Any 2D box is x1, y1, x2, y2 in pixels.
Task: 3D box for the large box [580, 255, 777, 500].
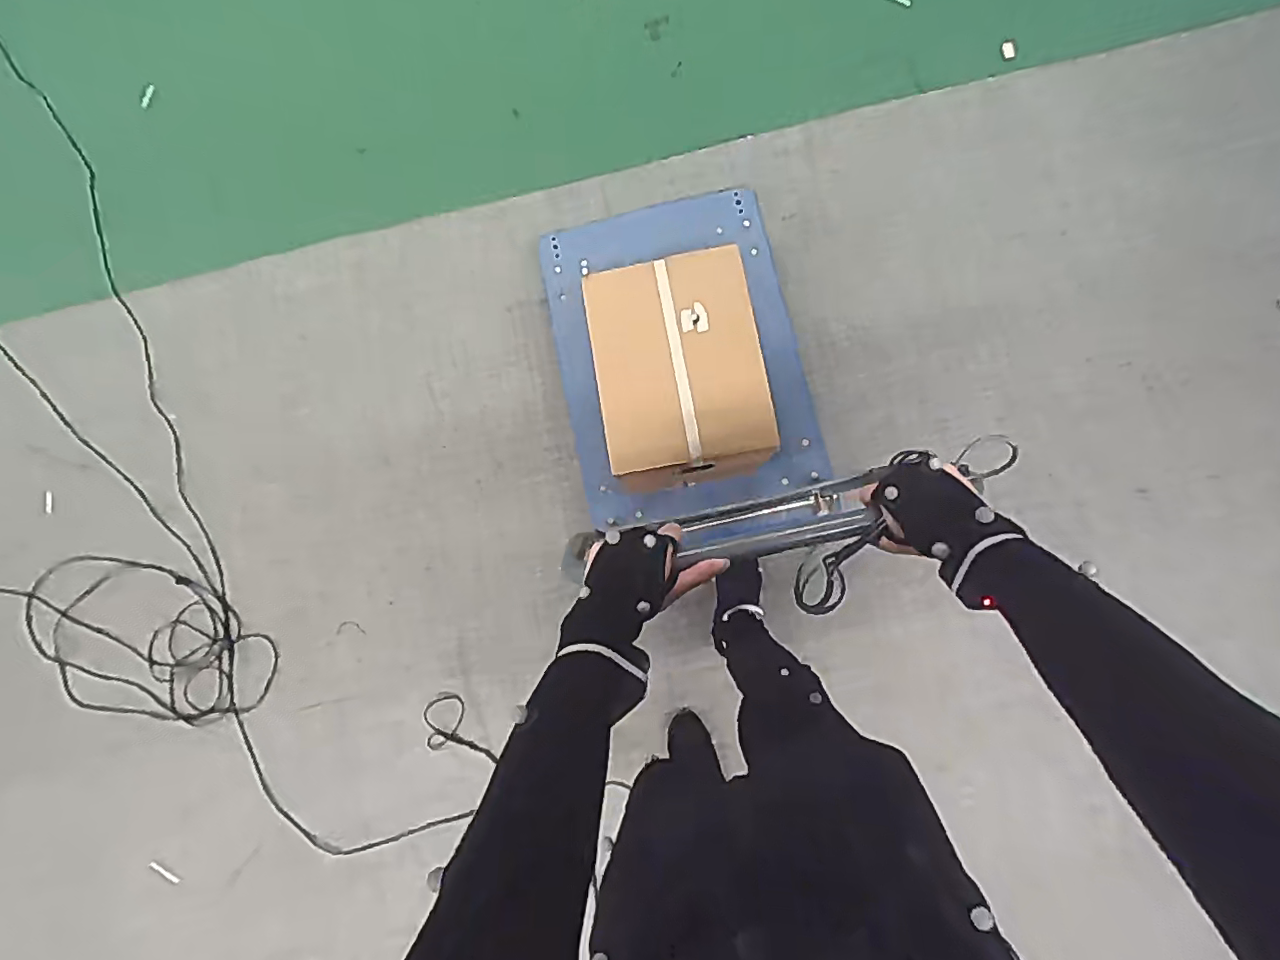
[{"bbox_3d":[0.080,-0.193,1.165,0.320,0.320,0.408,-10,81,3],"label":"large box"}]
